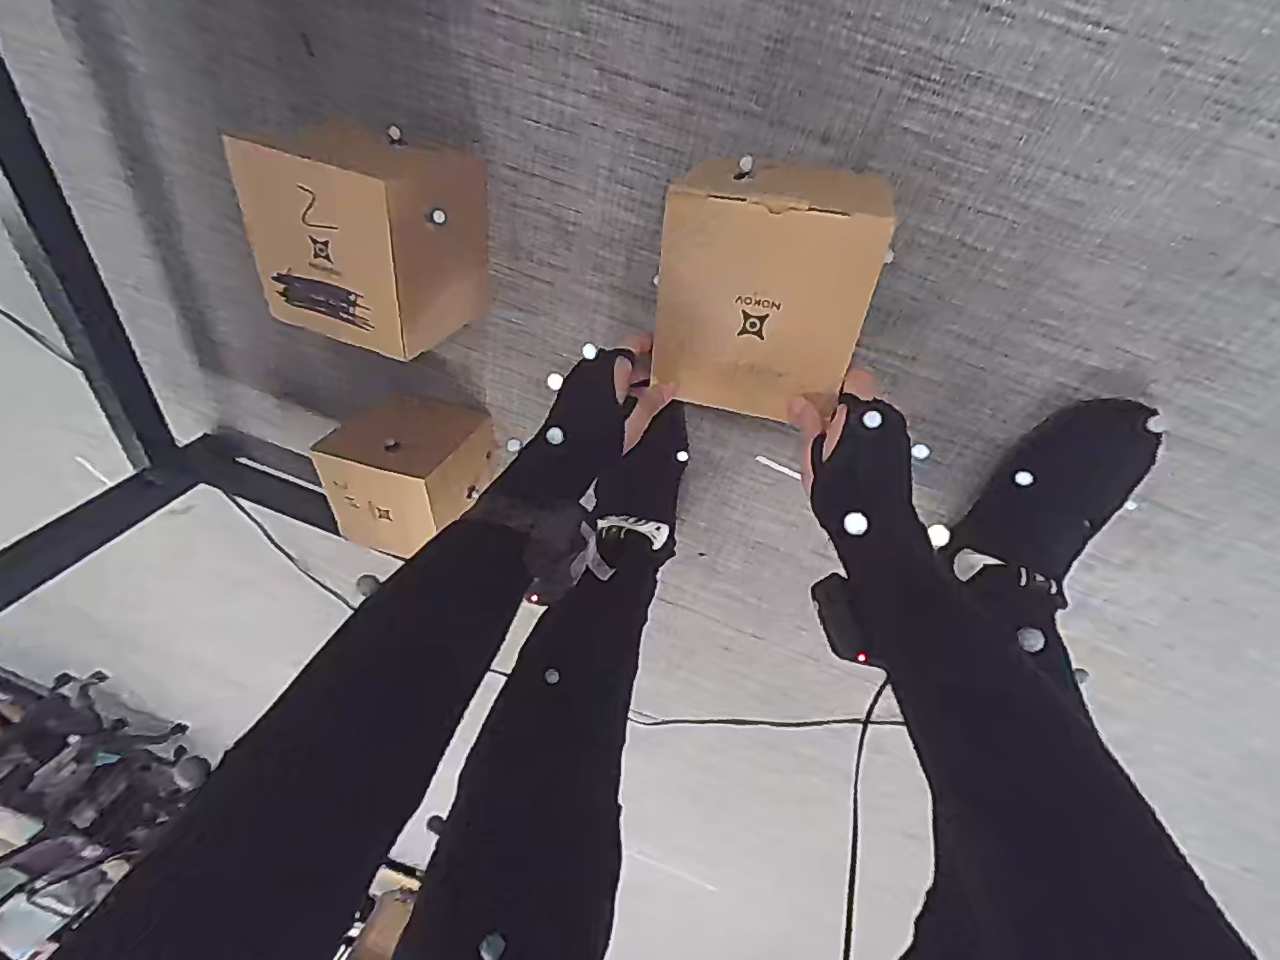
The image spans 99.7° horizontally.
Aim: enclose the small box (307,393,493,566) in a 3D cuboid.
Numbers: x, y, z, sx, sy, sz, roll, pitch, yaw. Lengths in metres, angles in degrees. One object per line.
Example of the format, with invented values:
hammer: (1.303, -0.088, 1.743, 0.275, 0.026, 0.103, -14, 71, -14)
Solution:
small box: (-0.327, -0.008, 0.784, 0.179, 0.176, 0.168, 14, 129, 11)
